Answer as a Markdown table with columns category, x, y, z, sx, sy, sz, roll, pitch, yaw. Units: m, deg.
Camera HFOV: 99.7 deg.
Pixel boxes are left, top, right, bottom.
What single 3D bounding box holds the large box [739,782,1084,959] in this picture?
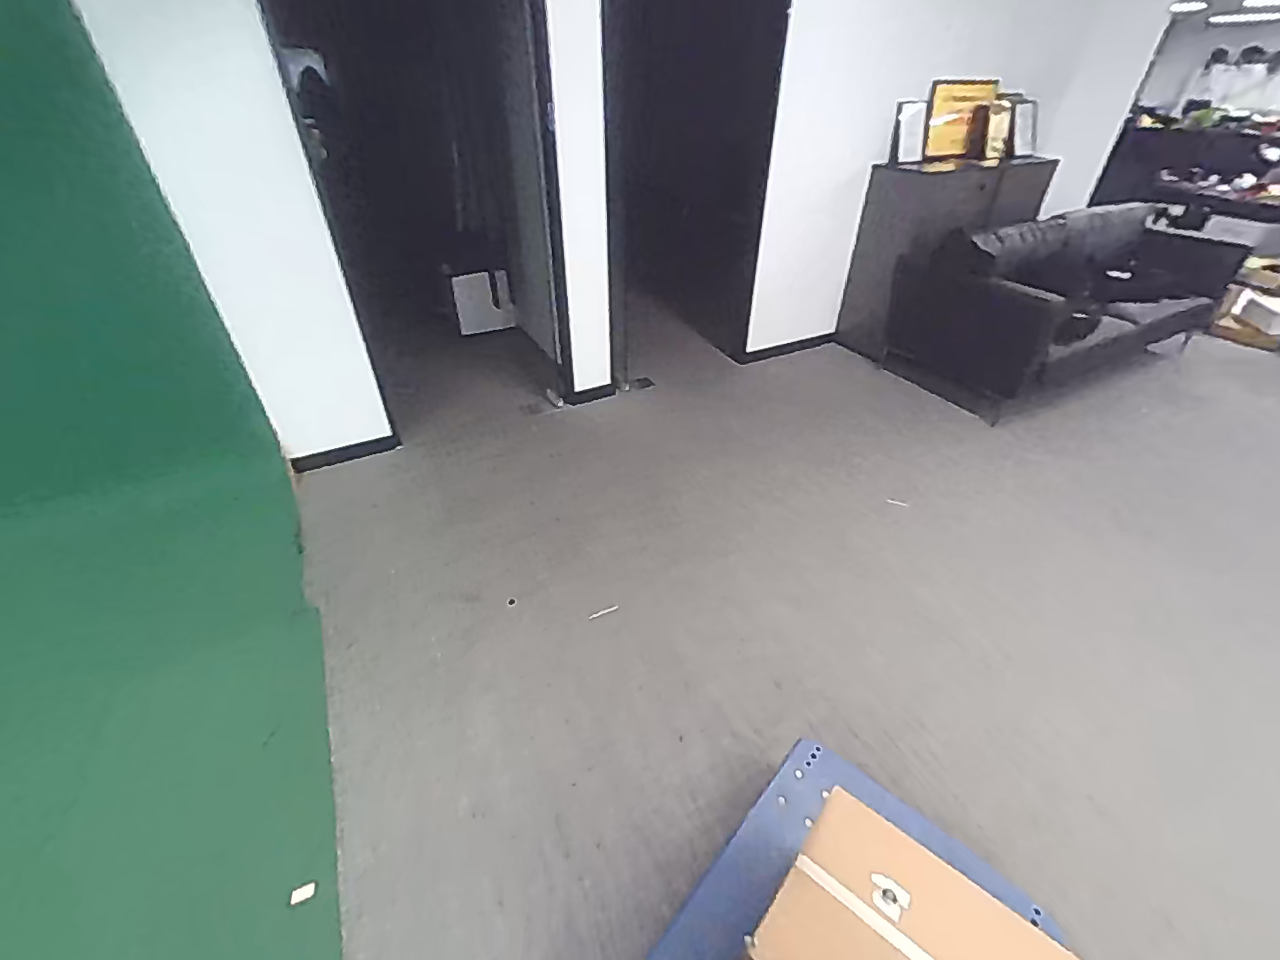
| category | x | y | z | sx | sy | sz | roll | pitch | yaw |
| --- | --- | --- | --- | --- | --- | --- | --- | --- | --- |
| large box | 0.413 | 0.818 | 0.893 | 0.408 | 0.320 | 0.320 | 26 | 44 | 32 |
